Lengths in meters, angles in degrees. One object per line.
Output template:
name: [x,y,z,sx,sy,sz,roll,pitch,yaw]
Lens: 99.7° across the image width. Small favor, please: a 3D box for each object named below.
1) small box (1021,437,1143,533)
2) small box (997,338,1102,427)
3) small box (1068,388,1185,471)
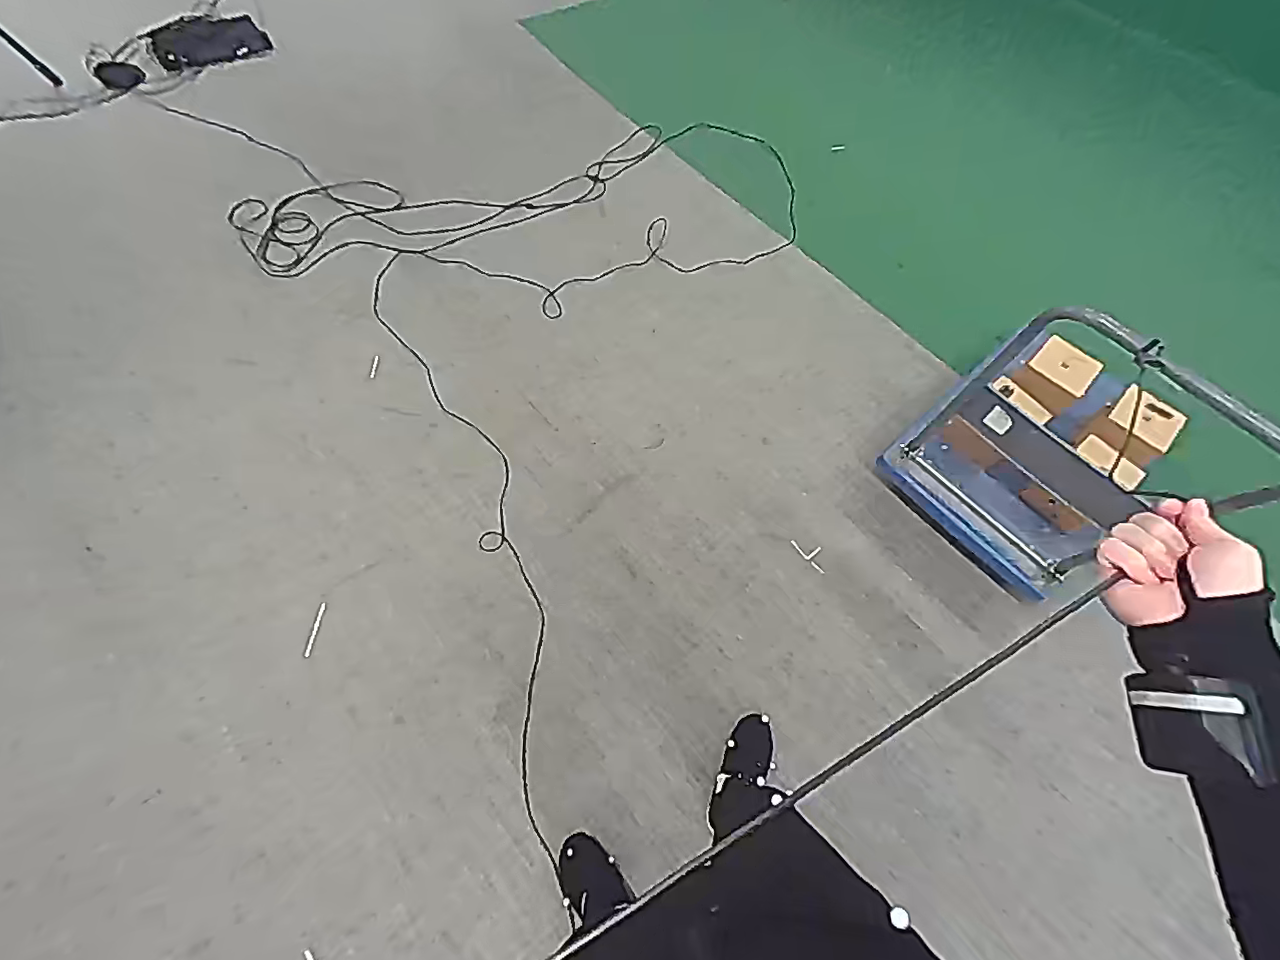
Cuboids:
small box: [1.228,0.018,1.518,0.179,0.176,0.168,-36,71,-18]
small box: [1.258,-0.298,1.678,0.179,0.176,0.168,-40,73,-21]
small box: [1.434,-0.133,1.606,0.179,0.176,0.168,-40,72,-20]
